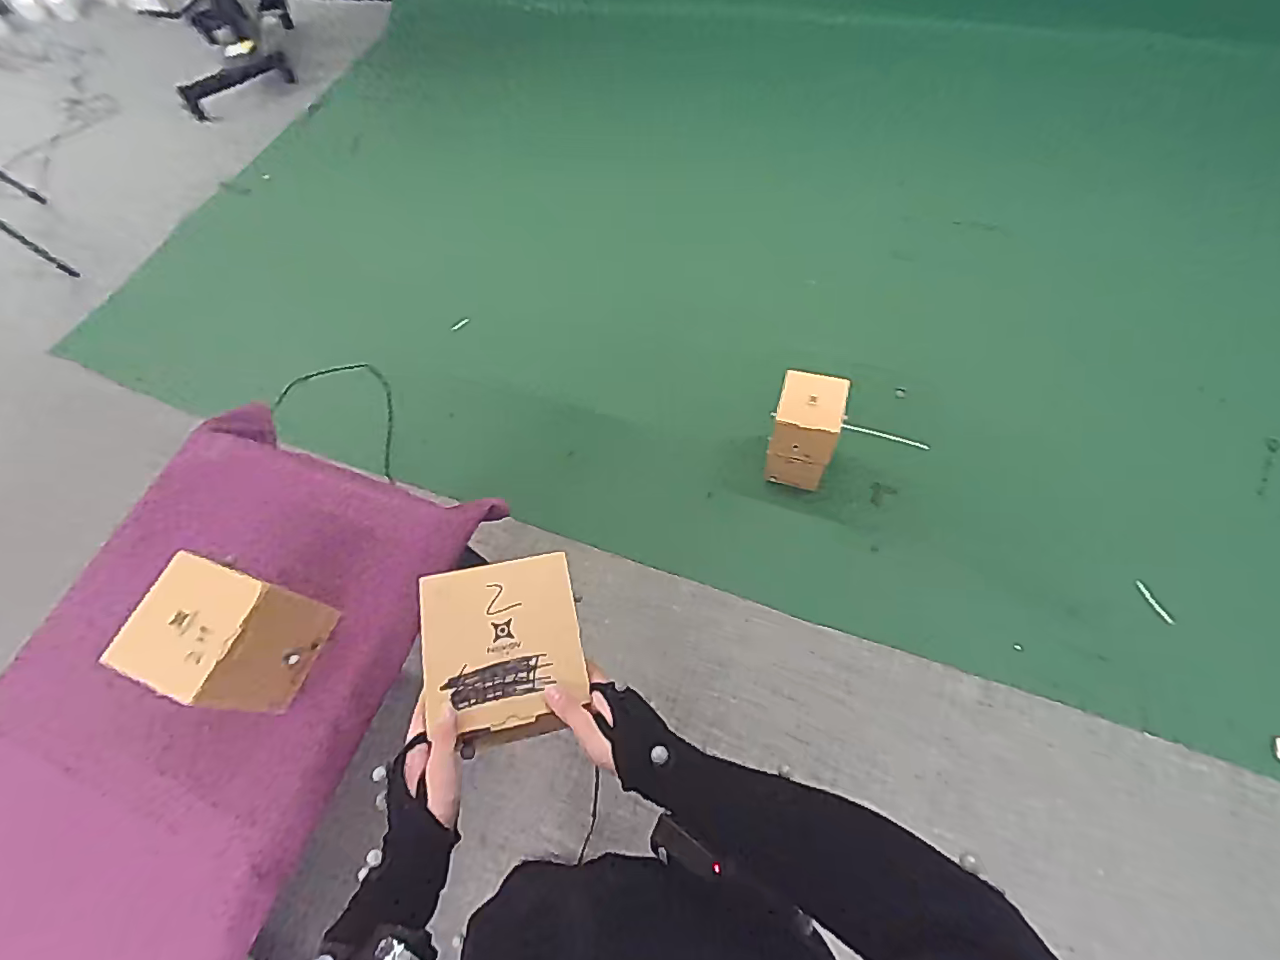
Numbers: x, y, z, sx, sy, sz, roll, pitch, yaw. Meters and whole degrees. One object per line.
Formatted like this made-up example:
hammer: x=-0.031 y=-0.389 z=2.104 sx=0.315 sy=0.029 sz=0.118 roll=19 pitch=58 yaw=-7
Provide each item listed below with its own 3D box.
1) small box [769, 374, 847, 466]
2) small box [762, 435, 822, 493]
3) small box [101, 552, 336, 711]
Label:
small box: x=0.462 y=-0.163 z=1.510 sx=0.168 sy=0.176 sz=0.179 roll=14 pitch=66 yaw=13
small box: x=0.475 y=-0.083 z=1.651 sx=0.168 sy=0.176 sz=0.179 roll=14 pitch=65 yaw=14
small box: x=-0.607 y=0.231 z=0.803 sx=0.179 sy=0.176 sz=0.168 roll=15 pitch=67 yaw=16
